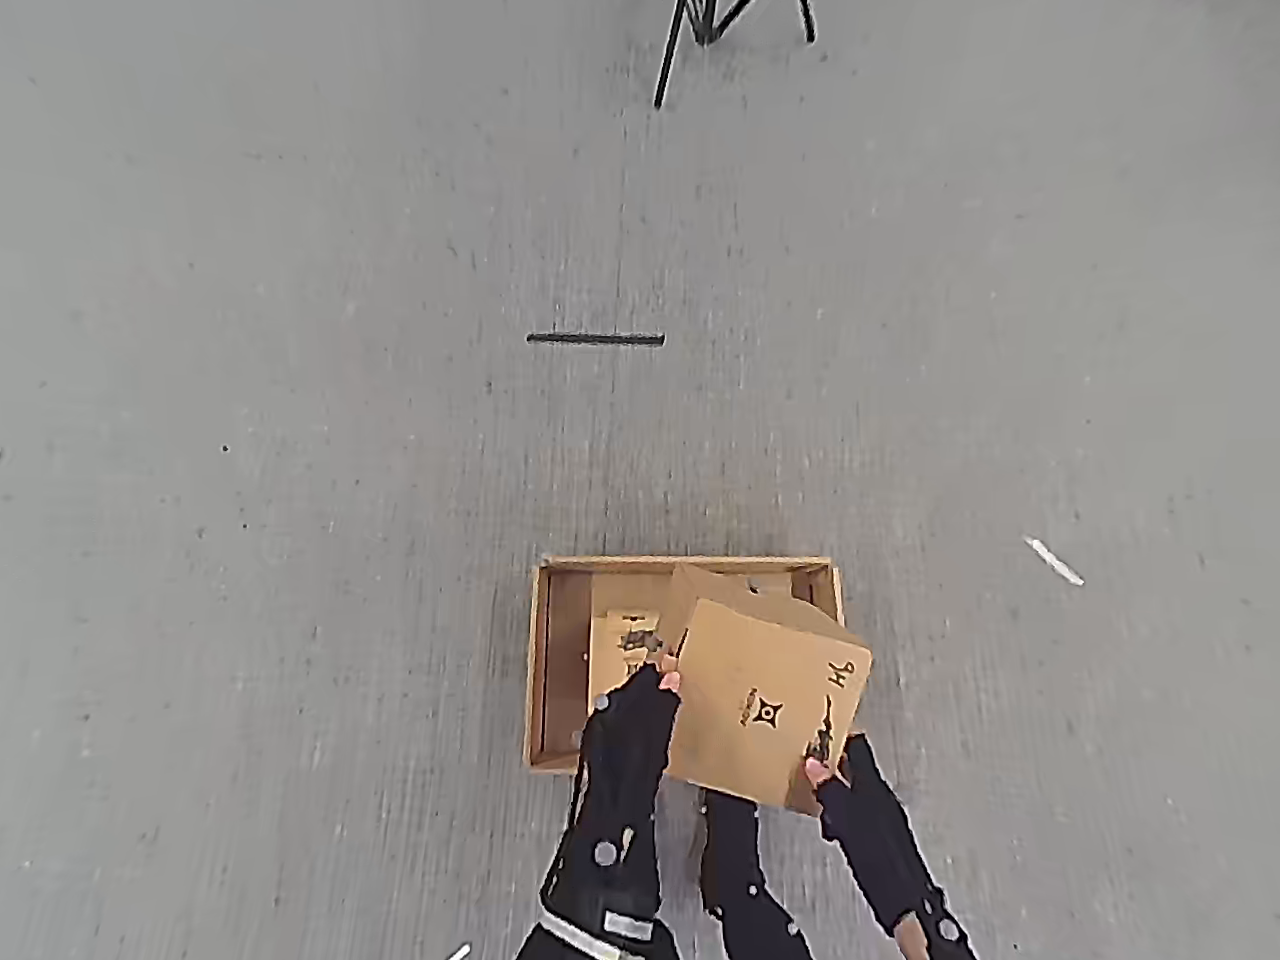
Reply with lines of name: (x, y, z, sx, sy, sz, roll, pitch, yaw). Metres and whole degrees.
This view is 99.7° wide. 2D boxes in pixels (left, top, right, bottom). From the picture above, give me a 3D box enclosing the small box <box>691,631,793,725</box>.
small box: (0.198, 0.393, 1.093, 0.179, 0.176, 0.168, 1, 73, 1)
